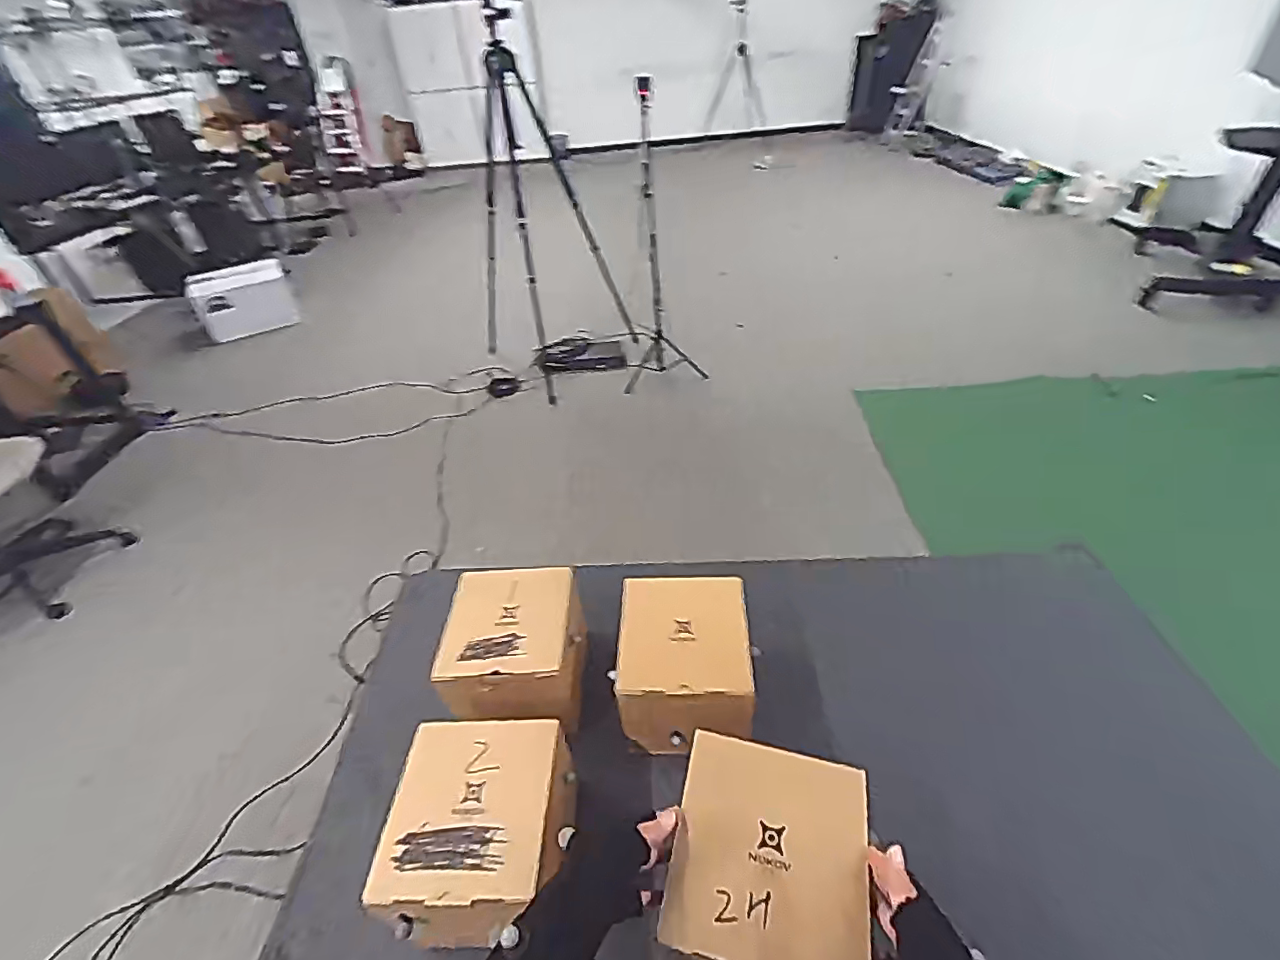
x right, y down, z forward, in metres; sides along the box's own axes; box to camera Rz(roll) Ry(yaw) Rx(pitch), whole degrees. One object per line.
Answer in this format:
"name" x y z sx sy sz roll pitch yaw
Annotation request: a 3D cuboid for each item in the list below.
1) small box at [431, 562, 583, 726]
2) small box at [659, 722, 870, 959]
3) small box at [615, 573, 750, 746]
"small box" -0.179 0.245 0.794 0.168 0.176 0.179 -3 40 2
"small box" 0.120 0.375 0.528 0.168 0.176 0.179 9 45 15
"small box" 0.059 0.251 0.762 0.168 0.176 0.179 -2 42 4
